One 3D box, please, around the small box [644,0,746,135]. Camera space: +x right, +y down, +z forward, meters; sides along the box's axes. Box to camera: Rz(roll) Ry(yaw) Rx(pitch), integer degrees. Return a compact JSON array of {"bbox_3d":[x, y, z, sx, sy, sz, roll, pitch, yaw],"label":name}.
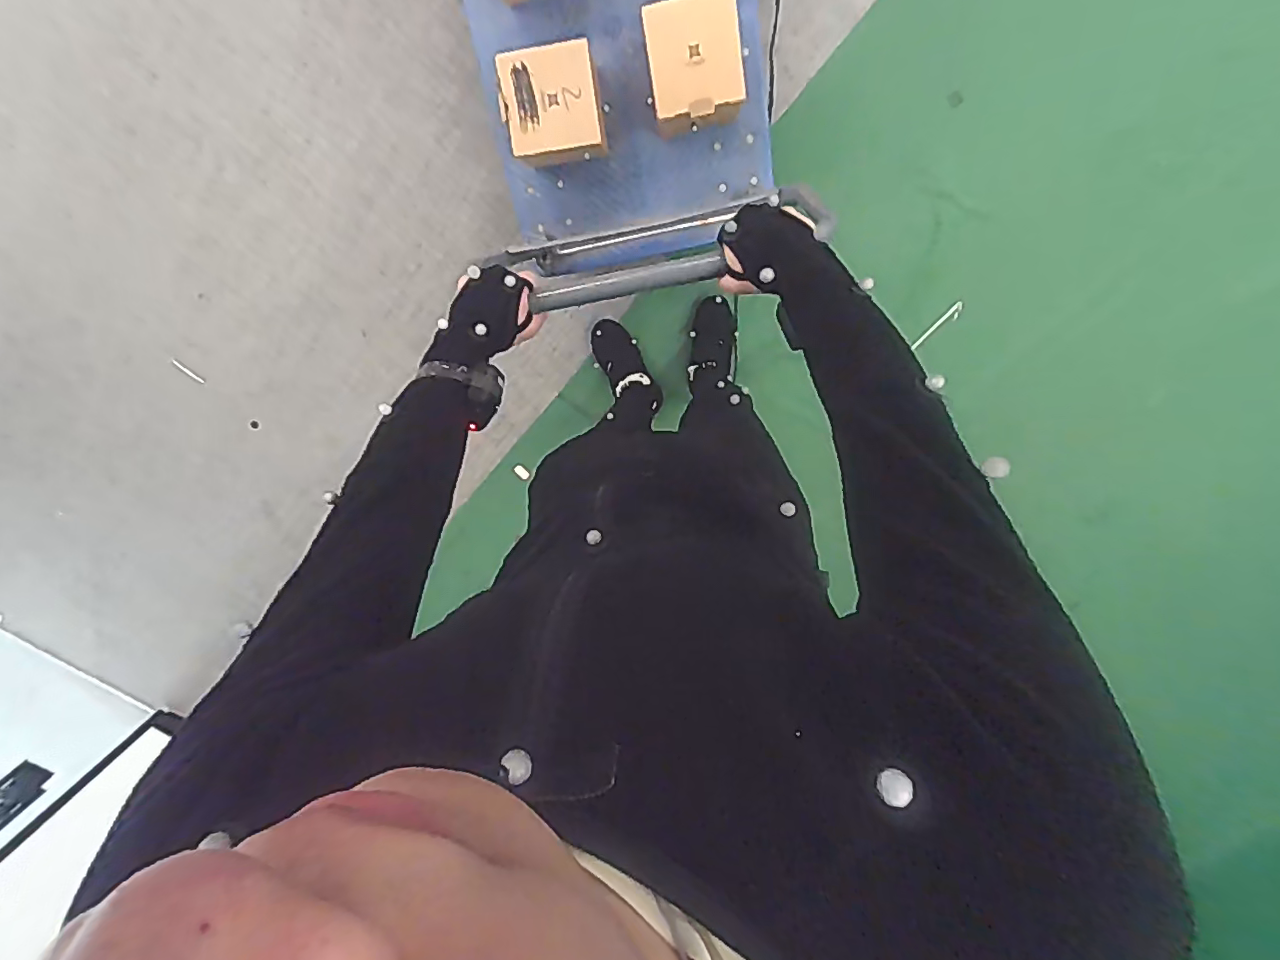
[{"bbox_3d":[0.103,-0.791,1.036,0.168,0.176,0.179,-9,113,7],"label":"small box"}]
